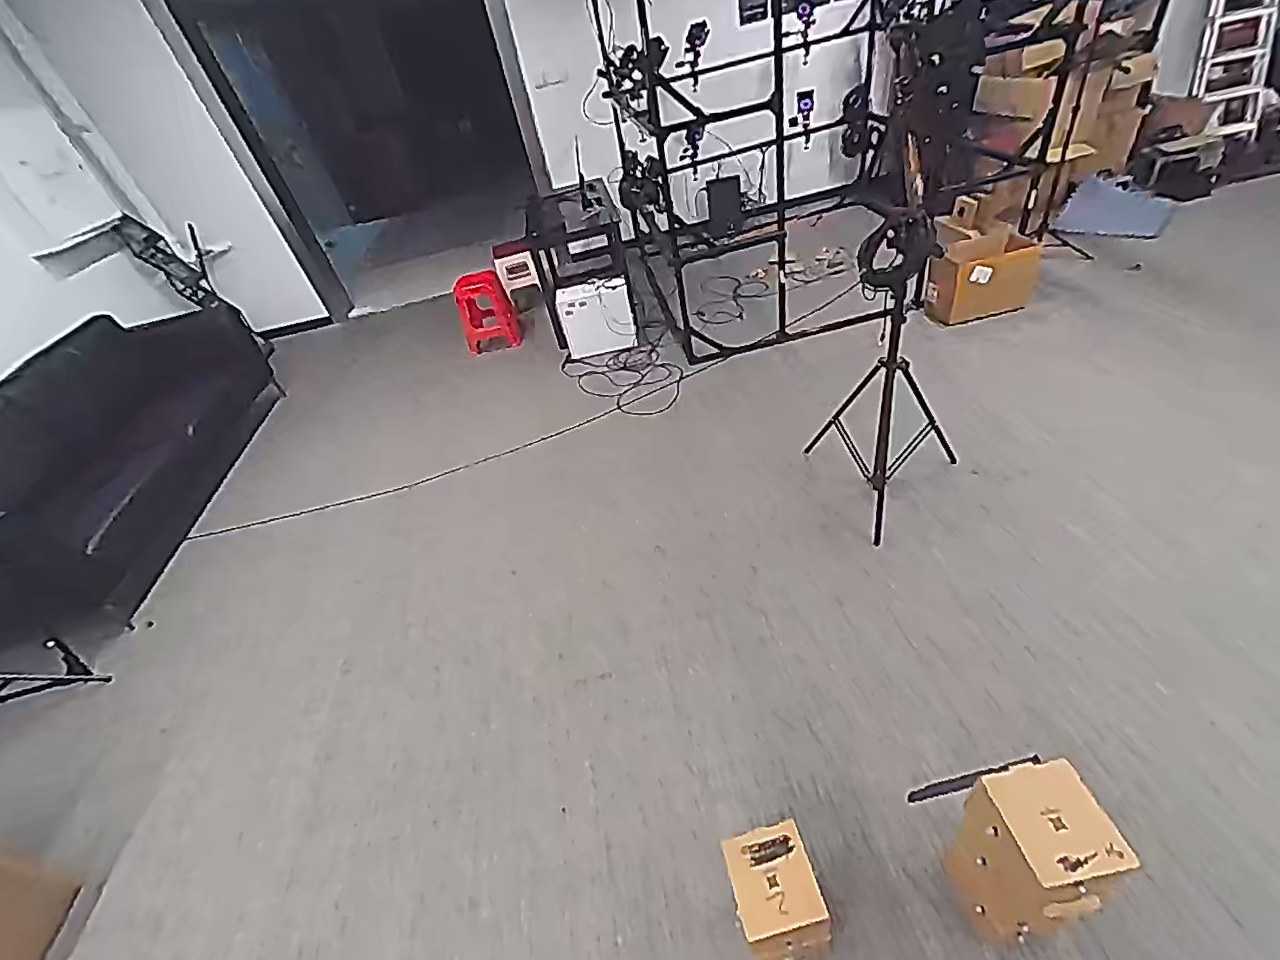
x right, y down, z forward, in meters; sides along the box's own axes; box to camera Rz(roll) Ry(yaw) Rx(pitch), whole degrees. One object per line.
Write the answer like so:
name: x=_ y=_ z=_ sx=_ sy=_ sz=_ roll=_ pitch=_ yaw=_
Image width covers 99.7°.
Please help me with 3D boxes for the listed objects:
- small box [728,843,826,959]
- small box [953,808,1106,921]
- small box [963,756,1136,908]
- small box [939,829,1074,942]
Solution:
small box: x=0.310 y=0.975 z=1.238 sx=0.168 sy=0.176 sz=0.179 roll=-16 pitch=40 yaw=-1
small box: x=0.771 y=0.762 z=1.093 sx=0.168 sy=0.176 sz=0.179 roll=-13 pitch=40 yaw=1
small box: x=0.726 y=0.642 z=0.988 sx=0.168 sy=0.176 sz=0.179 roll=-13 pitch=39 yaw=1
small box: x=0.795 y=0.886 z=1.198 sx=0.168 sy=0.176 sz=0.179 roll=-13 pitch=41 yaw=2
